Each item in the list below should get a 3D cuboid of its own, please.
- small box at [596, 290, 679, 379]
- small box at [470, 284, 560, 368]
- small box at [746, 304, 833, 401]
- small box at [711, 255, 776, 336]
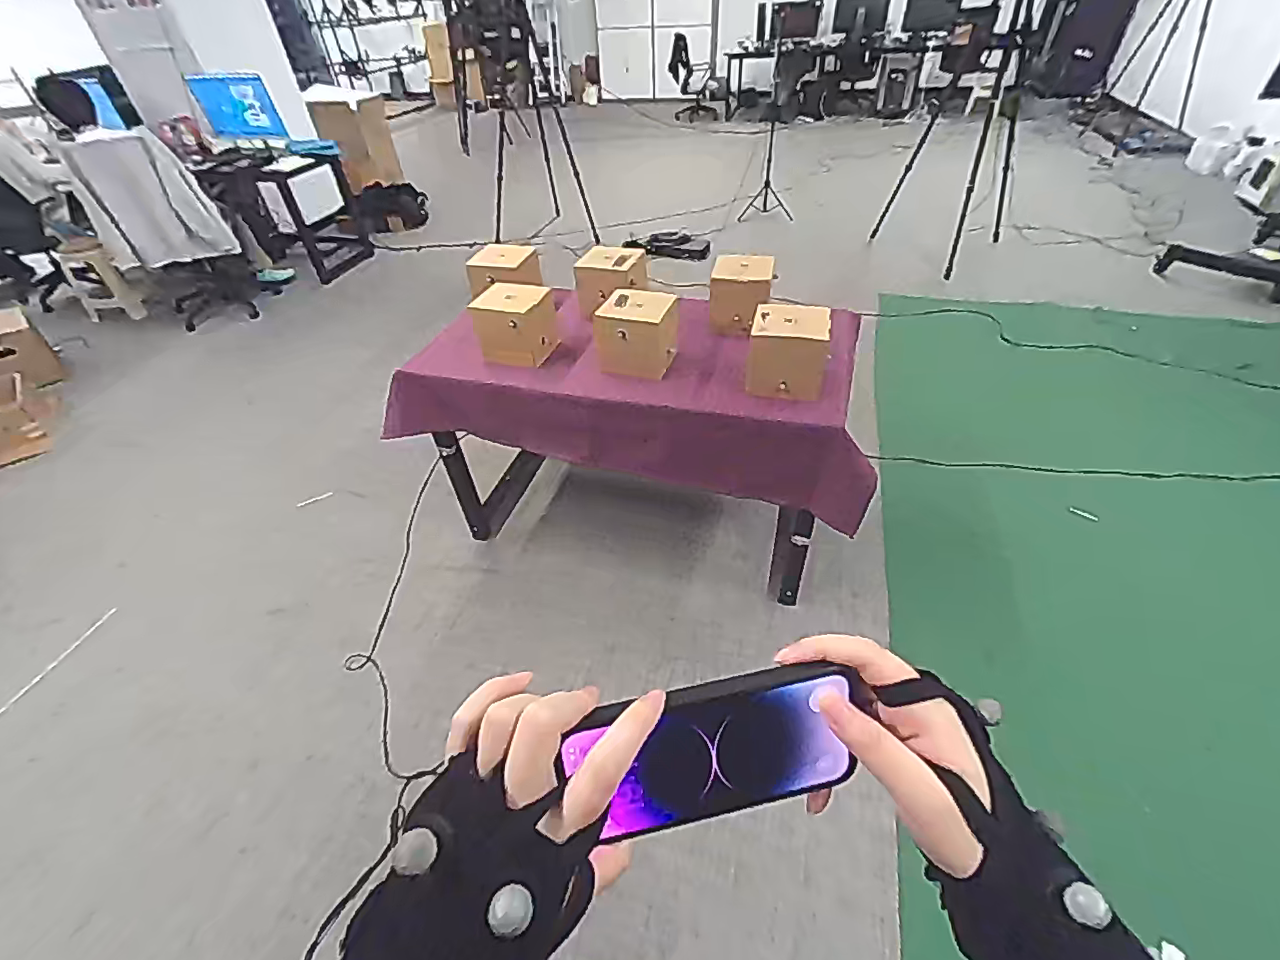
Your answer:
[{"bbox_3d":[-0.001,-0.387,1.441,0.179,0.176,0.168,12,45,16],"label":"small box"},{"bbox_3d":[-0.342,-0.433,1.519,0.179,0.176,0.168,11,45,15],"label":"small box"},{"bbox_3d":[0.365,-0.311,1.329,0.179,0.176,0.168,9,44,14],"label":"small box"},{"bbox_3d":[0.300,-0.539,1.581,0.168,0.176,0.179,7,44,13],"label":"small box"}]
